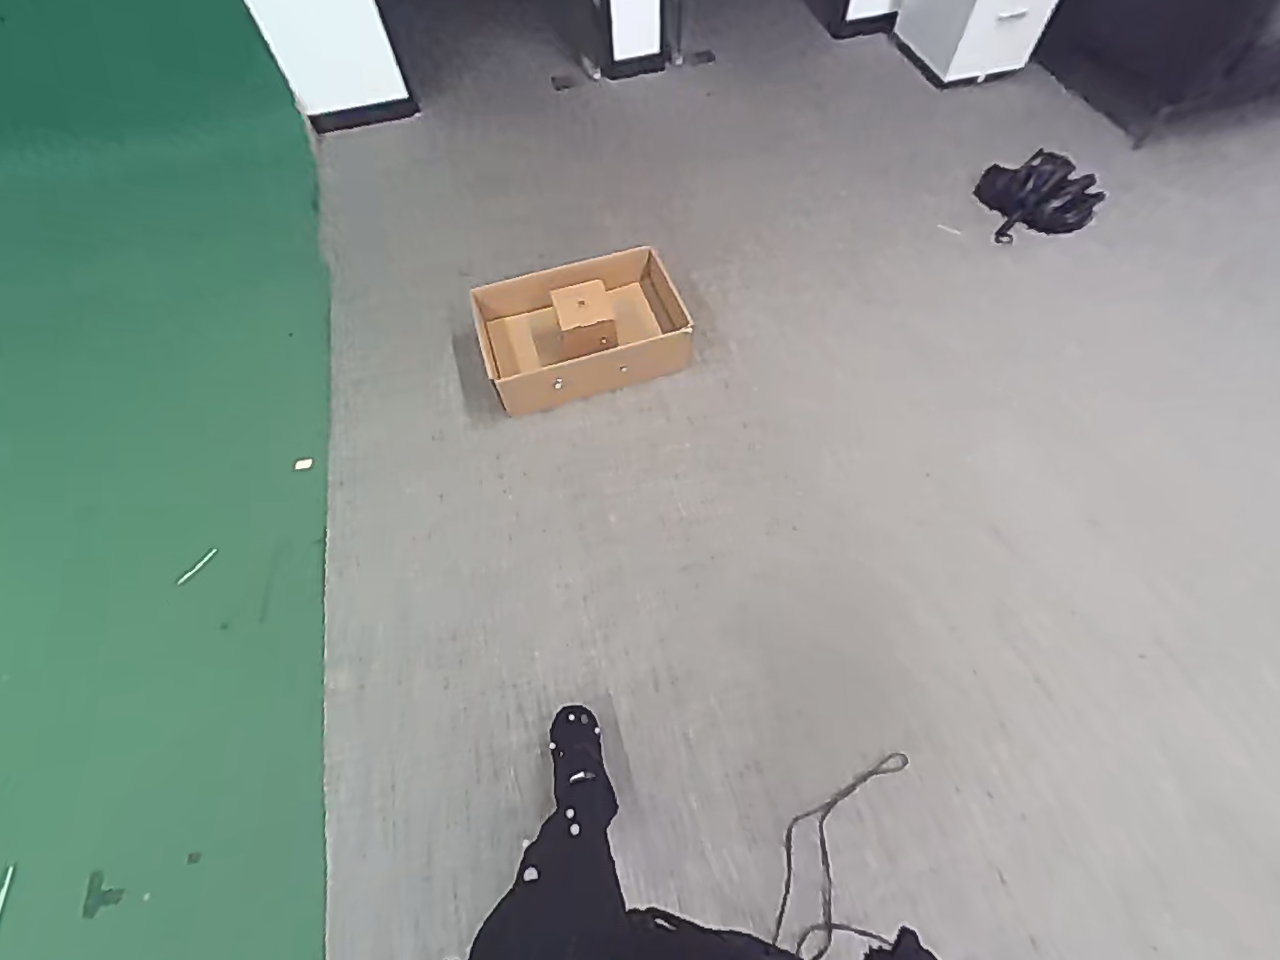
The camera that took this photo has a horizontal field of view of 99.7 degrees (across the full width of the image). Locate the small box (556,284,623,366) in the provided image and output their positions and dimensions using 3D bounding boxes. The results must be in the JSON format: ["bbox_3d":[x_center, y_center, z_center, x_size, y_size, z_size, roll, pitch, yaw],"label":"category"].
[{"bbox_3d":[-0.155,-0.478,1.696,0.168,0.176,0.179,-15,60,-7],"label":"small box"}]
